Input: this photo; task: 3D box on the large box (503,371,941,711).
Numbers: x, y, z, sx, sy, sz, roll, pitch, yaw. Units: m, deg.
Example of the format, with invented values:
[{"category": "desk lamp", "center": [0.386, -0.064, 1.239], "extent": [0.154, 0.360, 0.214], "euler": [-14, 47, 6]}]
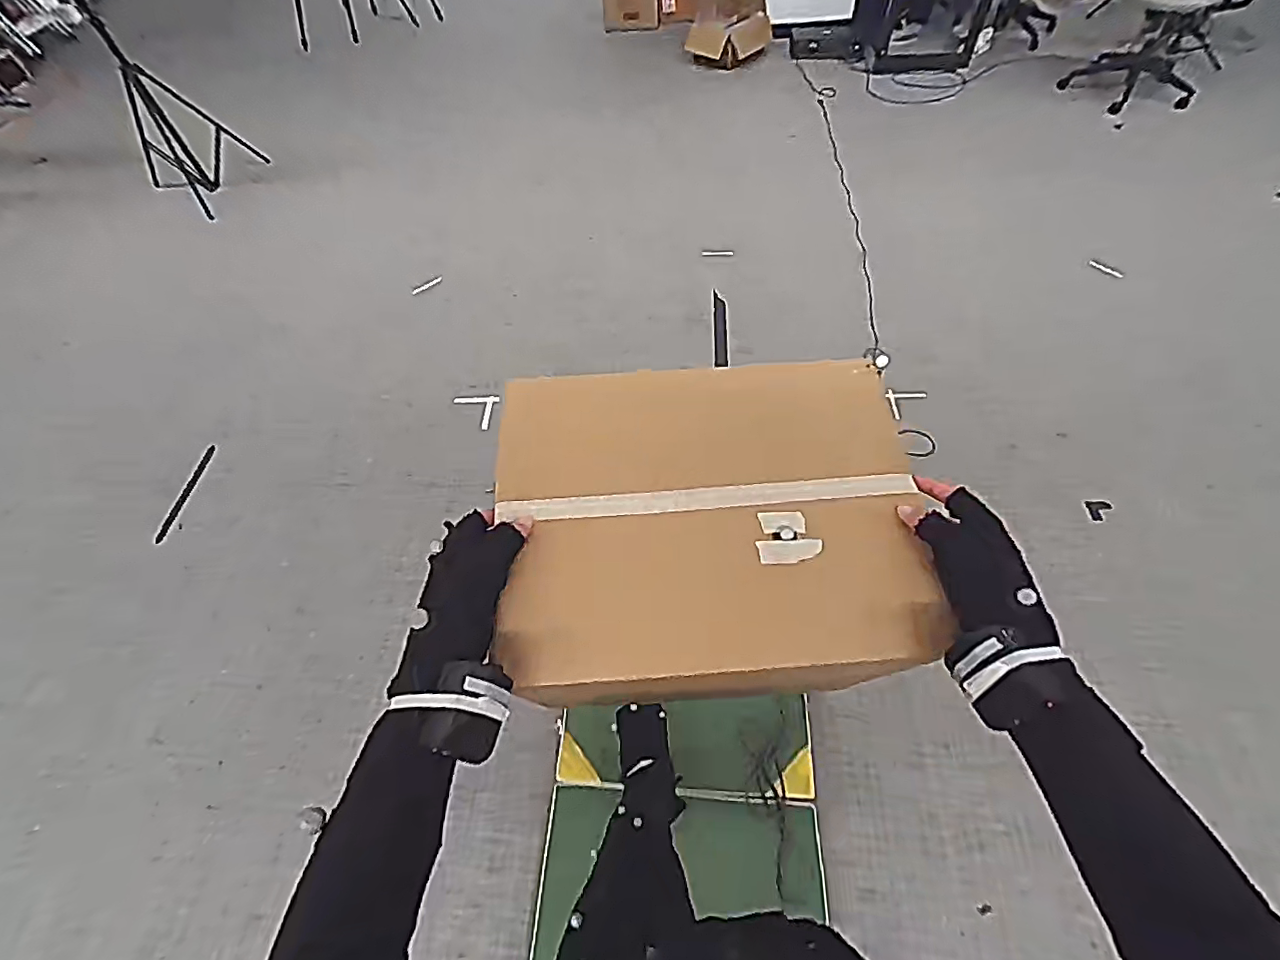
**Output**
[{"category": "large box", "center": [0.061, 0.094, 0.676], "extent": [0.408, 0.320, 0.320], "euler": [-4, 64, -2]}]
